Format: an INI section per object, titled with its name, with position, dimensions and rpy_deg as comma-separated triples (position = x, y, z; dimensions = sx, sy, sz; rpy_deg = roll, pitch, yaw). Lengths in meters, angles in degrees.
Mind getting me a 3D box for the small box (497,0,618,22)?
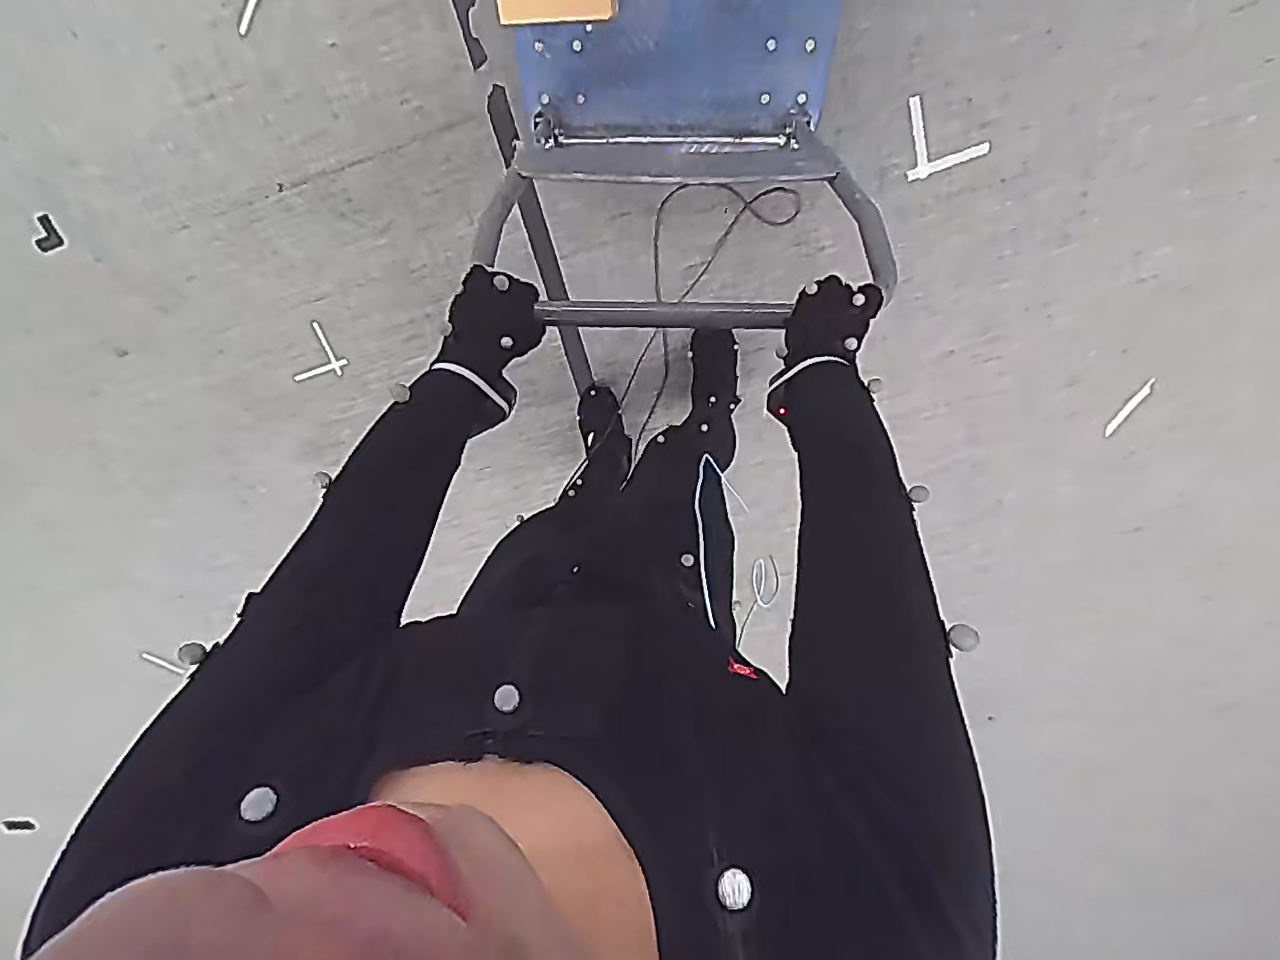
[small box]
position = -0.130, -0.821, 0.838
dimensions = 0.179, 0.176, 0.168
rpy_deg = -2, 132, 3
